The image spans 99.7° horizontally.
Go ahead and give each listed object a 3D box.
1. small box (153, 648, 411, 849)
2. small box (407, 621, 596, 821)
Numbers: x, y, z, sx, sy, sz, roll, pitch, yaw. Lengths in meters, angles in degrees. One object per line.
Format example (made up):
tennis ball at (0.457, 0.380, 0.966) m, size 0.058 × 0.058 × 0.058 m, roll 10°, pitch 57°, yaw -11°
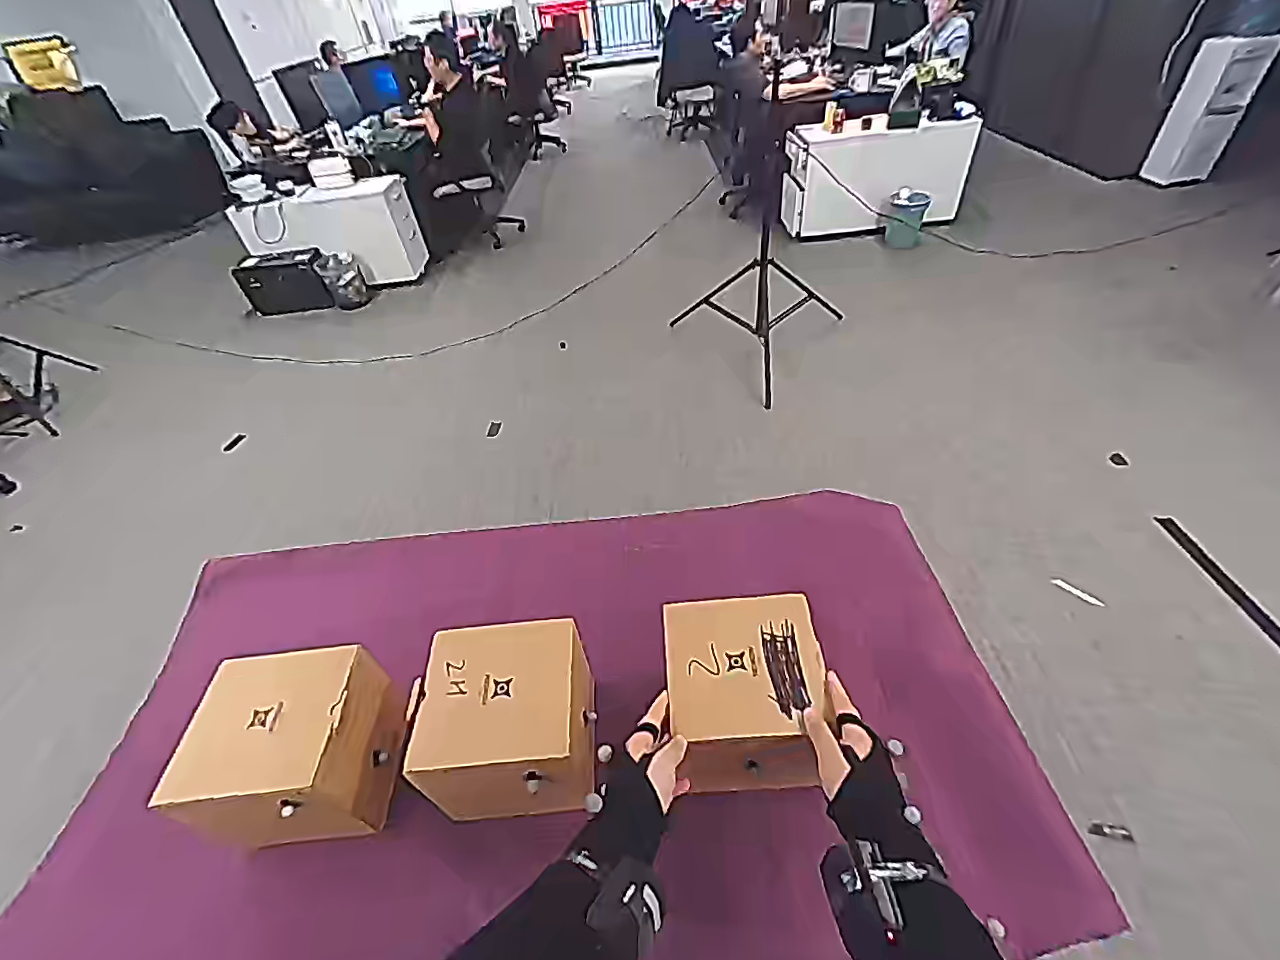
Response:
small box at (-0.414, 0.332, 0.666) m, size 0.179 × 0.176 × 0.168 m, roll -7°, pitch 43°, yaw 0°
small box at (-0.150, 0.296, 0.662) m, size 0.179 × 0.176 × 0.168 m, roll -7°, pitch 42°, yaw 2°
